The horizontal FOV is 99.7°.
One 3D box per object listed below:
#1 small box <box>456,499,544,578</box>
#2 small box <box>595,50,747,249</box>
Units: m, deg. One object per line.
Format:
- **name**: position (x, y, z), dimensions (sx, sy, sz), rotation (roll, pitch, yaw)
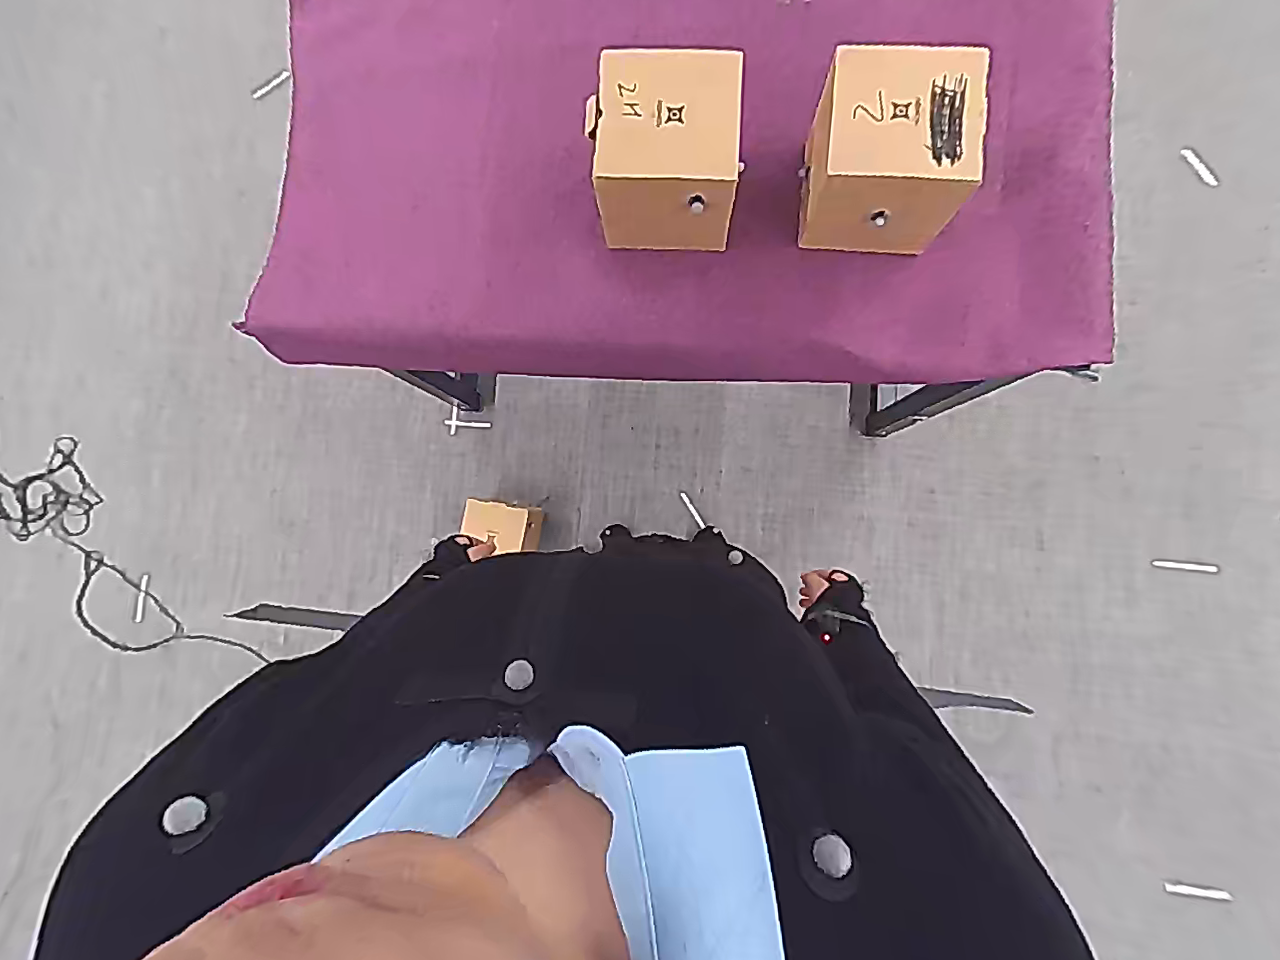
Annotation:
- **small box**: position (-0.366, 0.154, 1.444), dimensions (0.168, 0.176, 0.179), rotation (10, 86, 4)
- **small box**: position (0.042, -0.429, 0.727), dimensions (0.179, 0.176, 0.168), rotation (3, 85, 4)
